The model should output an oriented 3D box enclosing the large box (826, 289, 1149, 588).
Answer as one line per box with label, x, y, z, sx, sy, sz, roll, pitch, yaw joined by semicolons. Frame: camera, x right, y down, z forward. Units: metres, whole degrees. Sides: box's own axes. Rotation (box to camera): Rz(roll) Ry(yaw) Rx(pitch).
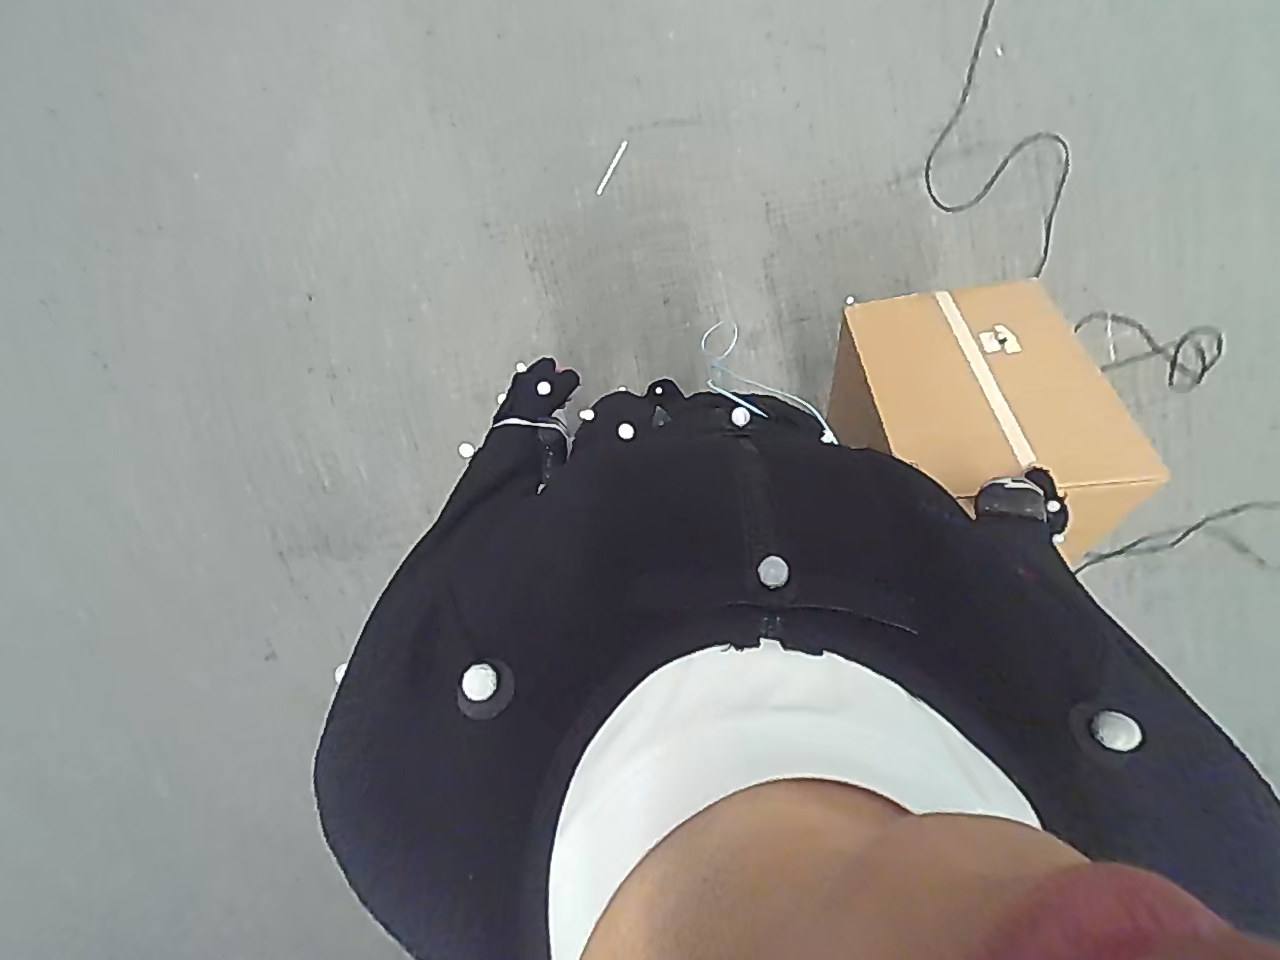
large box;0.532;-0.062;0.944;0.320;0.320;0.408;-5;56;8
